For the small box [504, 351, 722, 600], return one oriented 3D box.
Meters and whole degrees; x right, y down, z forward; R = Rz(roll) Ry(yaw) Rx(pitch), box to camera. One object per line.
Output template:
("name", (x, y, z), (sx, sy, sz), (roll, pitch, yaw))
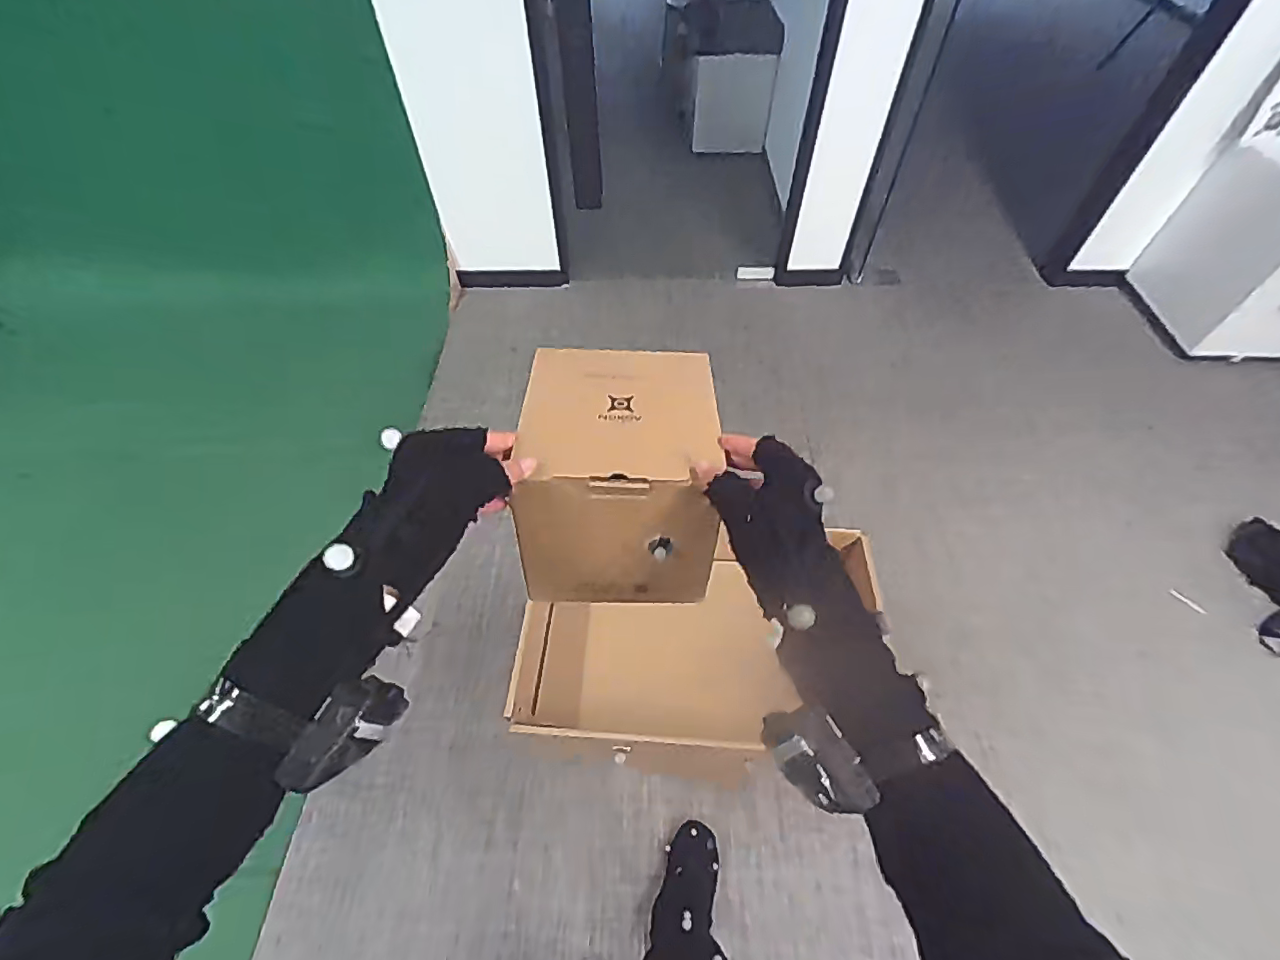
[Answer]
("small box", (-0.023, -0.002, 0.511), (0.168, 0.176, 0.179), (2, 44, -3))
